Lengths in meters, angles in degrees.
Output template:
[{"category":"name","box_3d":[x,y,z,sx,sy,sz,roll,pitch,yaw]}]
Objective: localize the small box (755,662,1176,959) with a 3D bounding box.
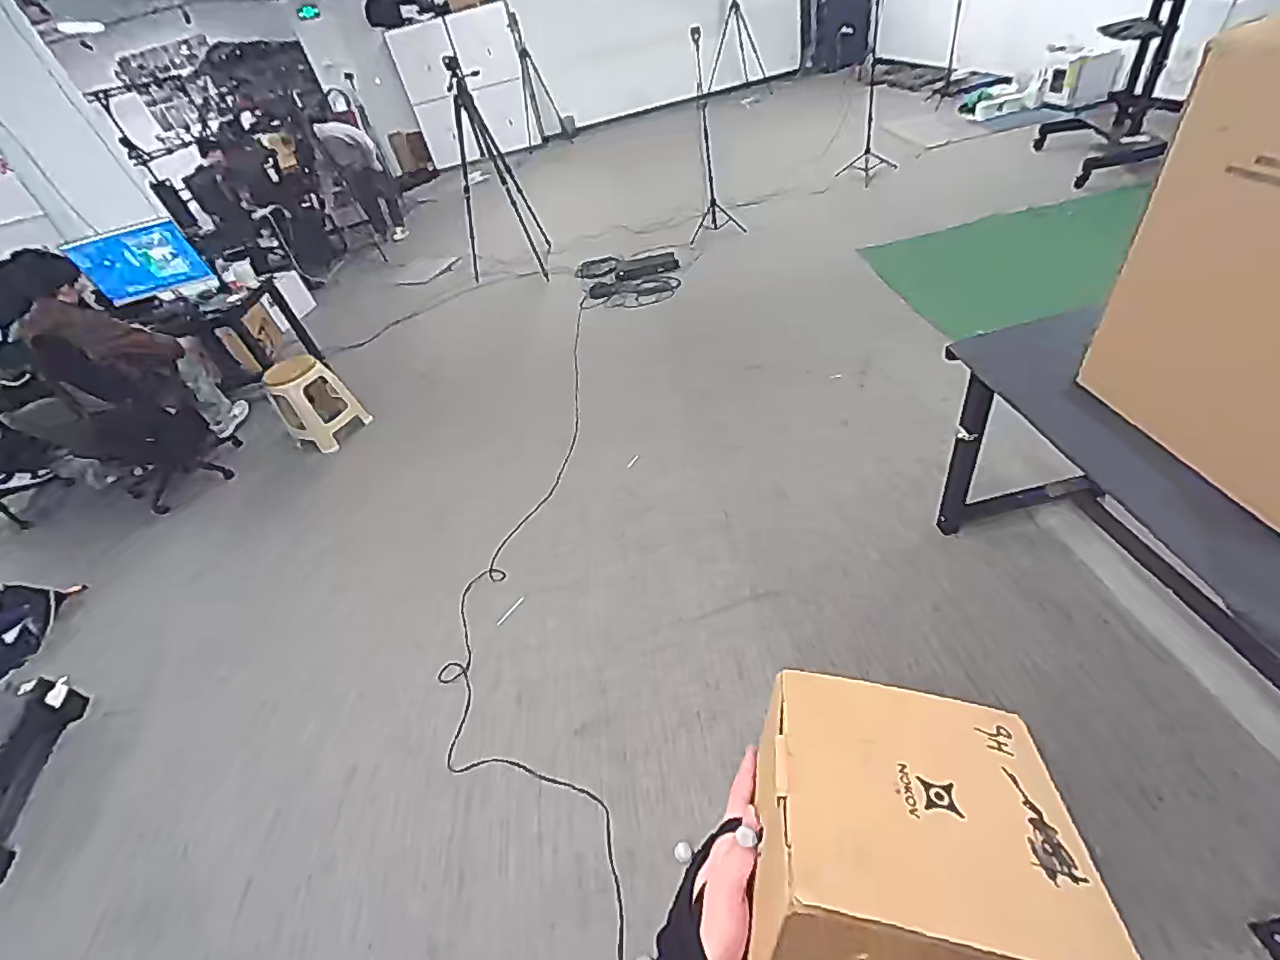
[{"category":"small box","box_3d":[0.175,0.256,0.363,0.179,0.176,0.168,9,27,8]}]
